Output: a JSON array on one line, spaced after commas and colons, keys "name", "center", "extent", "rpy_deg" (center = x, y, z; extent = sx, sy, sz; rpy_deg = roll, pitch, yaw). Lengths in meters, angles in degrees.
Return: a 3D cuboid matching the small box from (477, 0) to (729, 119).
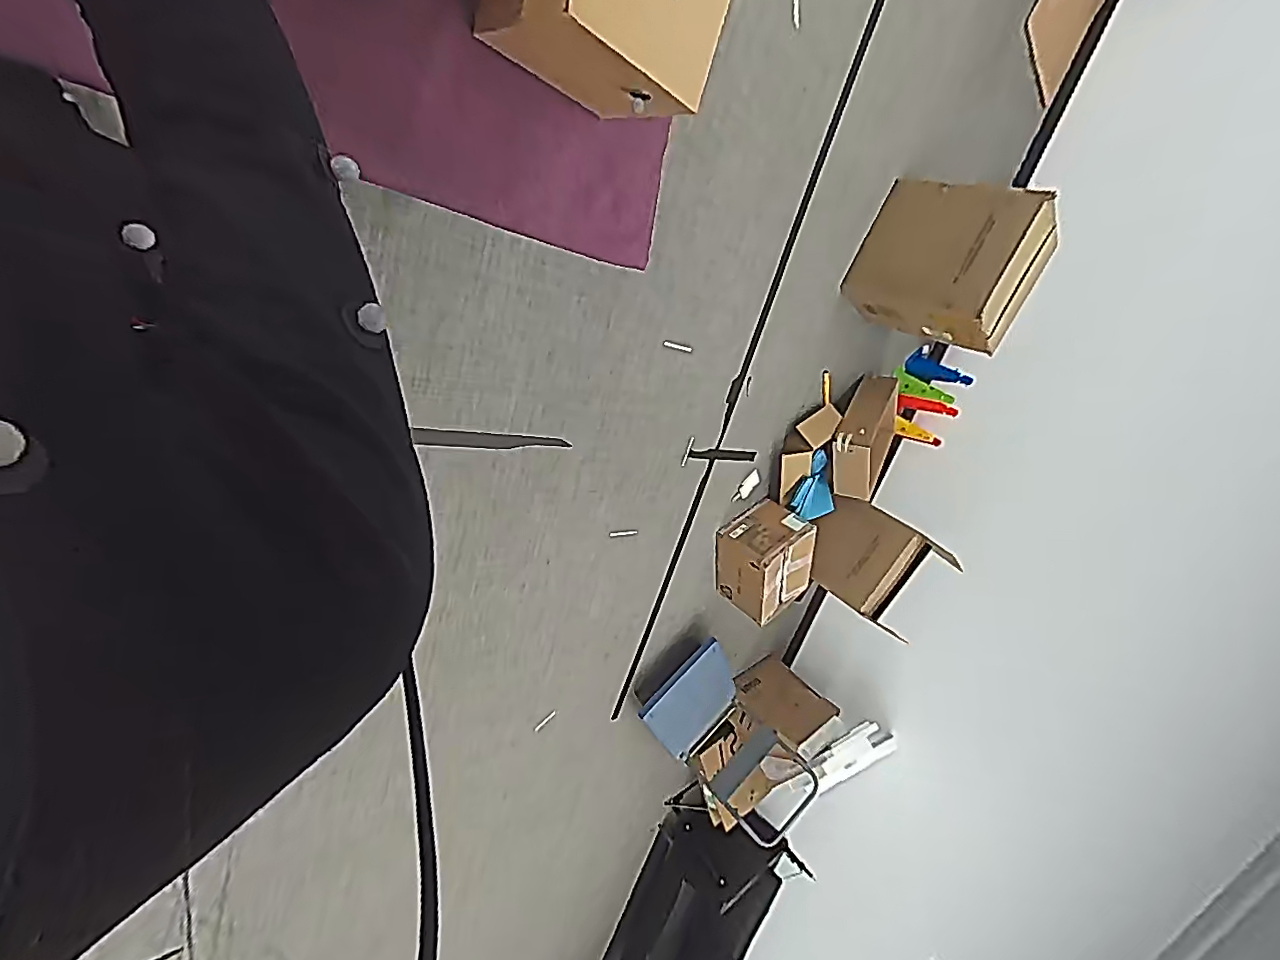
[{"name": "small box", "center": [-0.032, -0.490, 0.537], "extent": [0.179, 0.176, 0.168], "rpy_deg": [1, 113, -46]}]
